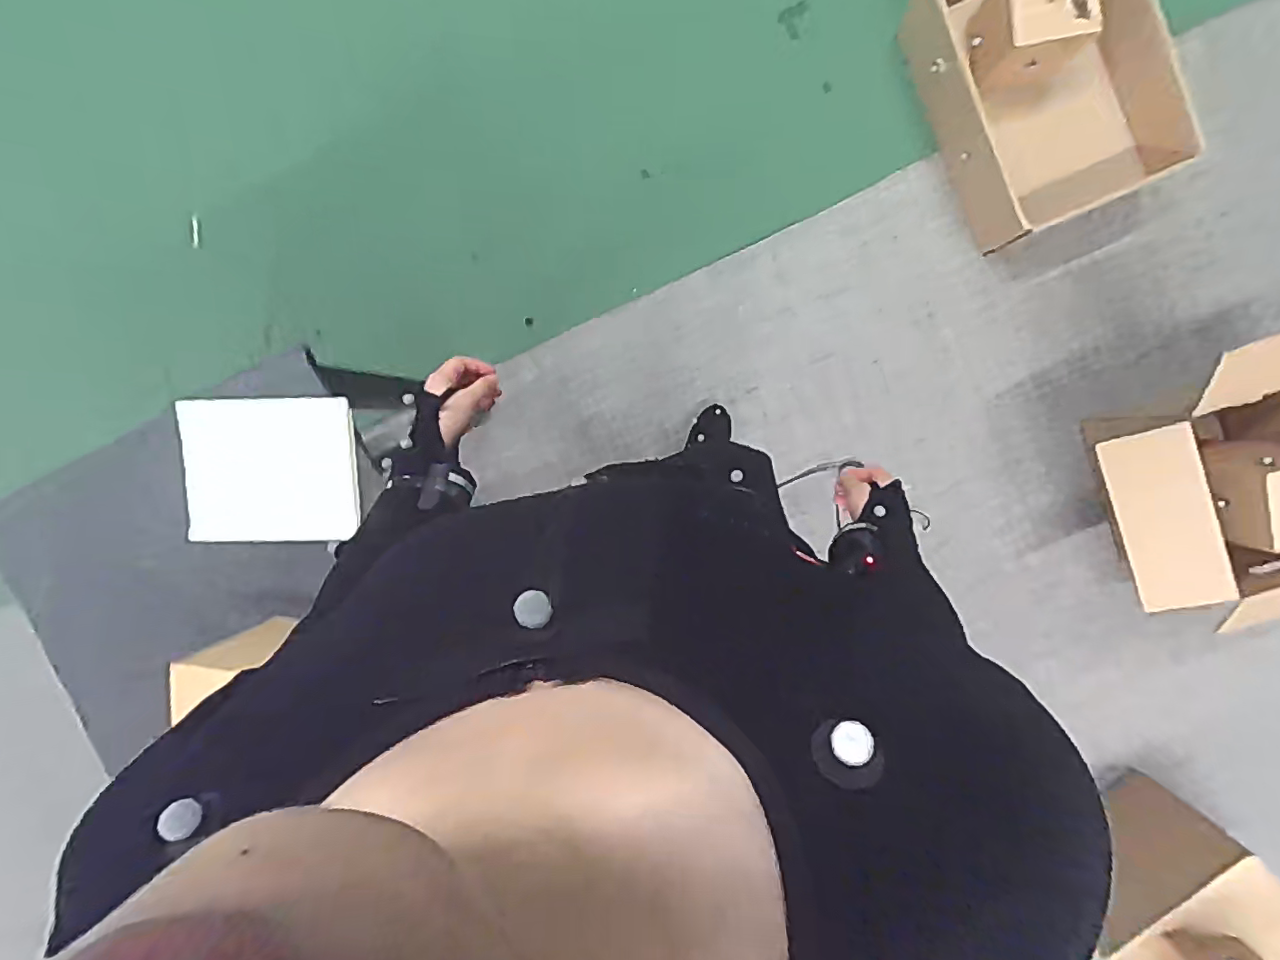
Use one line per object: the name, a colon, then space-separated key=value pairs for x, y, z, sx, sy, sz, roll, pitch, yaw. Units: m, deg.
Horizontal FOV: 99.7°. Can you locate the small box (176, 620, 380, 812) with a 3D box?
small box: x=-0.473 y=0.303 z=0.729 sx=0.168 sy=0.176 sz=0.179 roll=4 pitch=98 yaw=4

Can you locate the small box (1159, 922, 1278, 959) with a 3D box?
small box: x=1.243 y=1.075 z=1.134 sx=0.168 sy=0.176 sz=0.179 roll=-3 pitch=94 yaw=4

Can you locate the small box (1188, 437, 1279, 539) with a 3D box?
small box: x=1.317 y=0.011 z=1.139 sx=0.179 sy=0.176 sz=0.168 roll=-15 pitch=98 yaw=5

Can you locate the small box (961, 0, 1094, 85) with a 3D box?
small box: x=0.848 y=-1.018 z=1.194 sx=0.179 sy=0.176 sz=0.168 roll=-9 pitch=96 yaw=4
